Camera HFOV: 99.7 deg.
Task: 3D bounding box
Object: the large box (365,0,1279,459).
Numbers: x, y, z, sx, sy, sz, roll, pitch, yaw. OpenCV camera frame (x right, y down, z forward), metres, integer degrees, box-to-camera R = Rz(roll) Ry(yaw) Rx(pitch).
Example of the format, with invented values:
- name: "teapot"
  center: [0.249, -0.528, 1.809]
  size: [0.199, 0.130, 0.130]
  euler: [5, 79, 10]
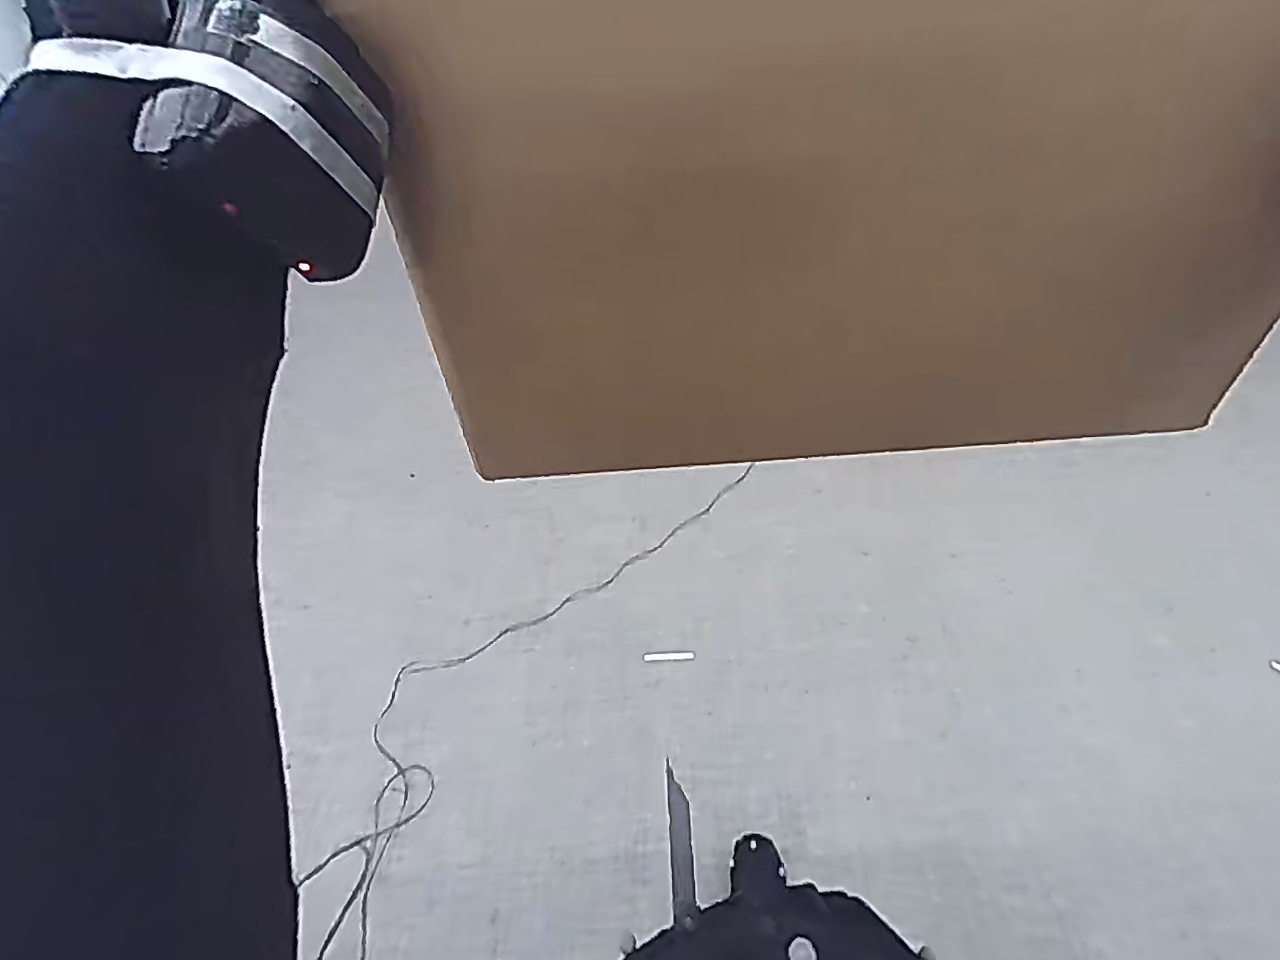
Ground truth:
- name: "large box"
  center: [0.092, -0.234, 0.339]
  size: [0.408, 0.320, 0.320]
  euler: [-4, 39, 0]
